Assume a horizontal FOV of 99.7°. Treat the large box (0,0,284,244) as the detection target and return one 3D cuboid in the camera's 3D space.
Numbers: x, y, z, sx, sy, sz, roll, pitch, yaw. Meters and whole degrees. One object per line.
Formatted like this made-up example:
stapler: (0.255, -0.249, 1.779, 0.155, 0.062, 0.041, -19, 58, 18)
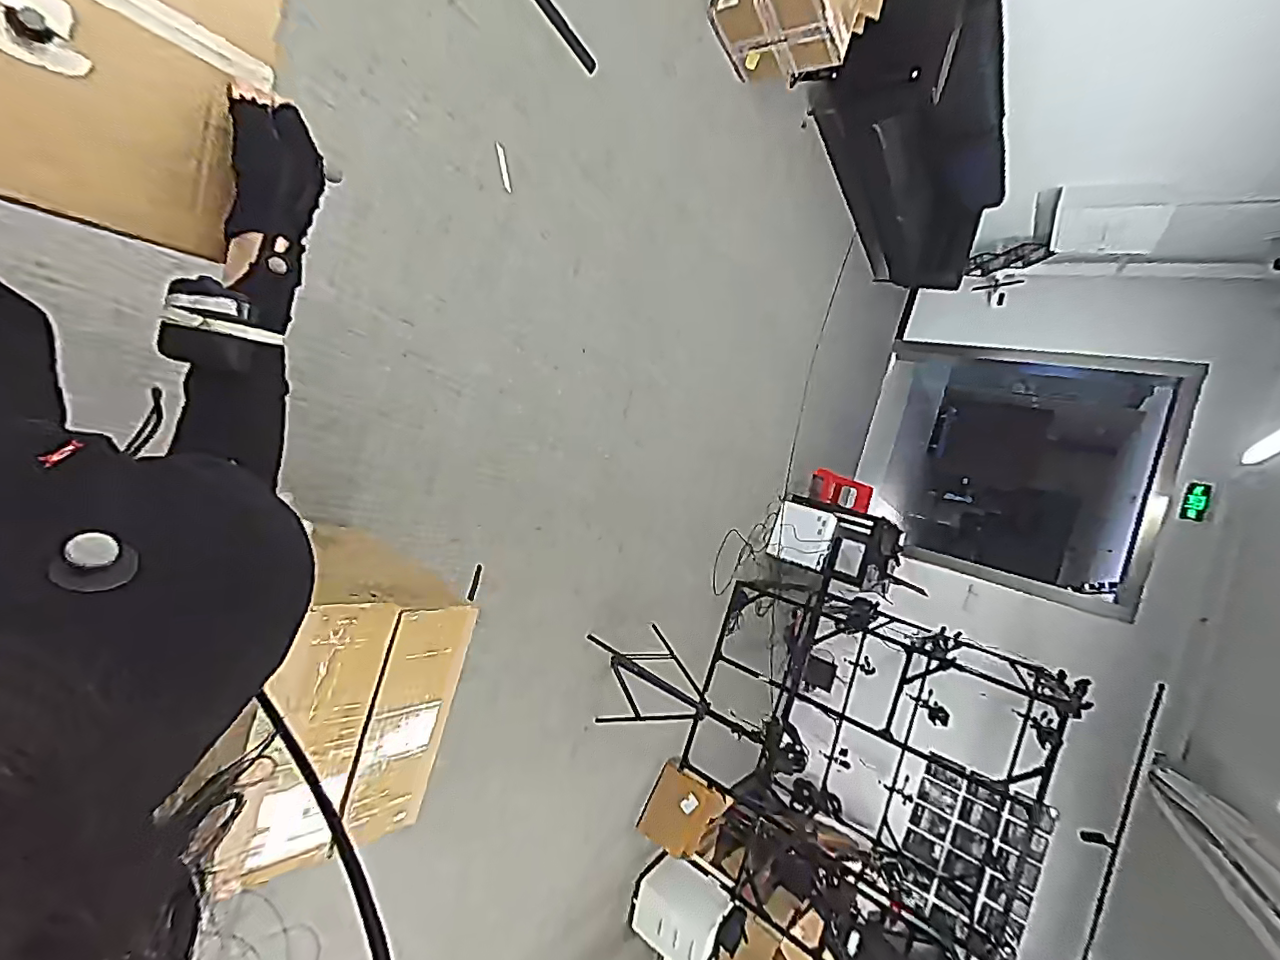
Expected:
large box: (-0.535, -0.399, 0.363, 0.408, 0.320, 0.320, 3, 108, -57)
